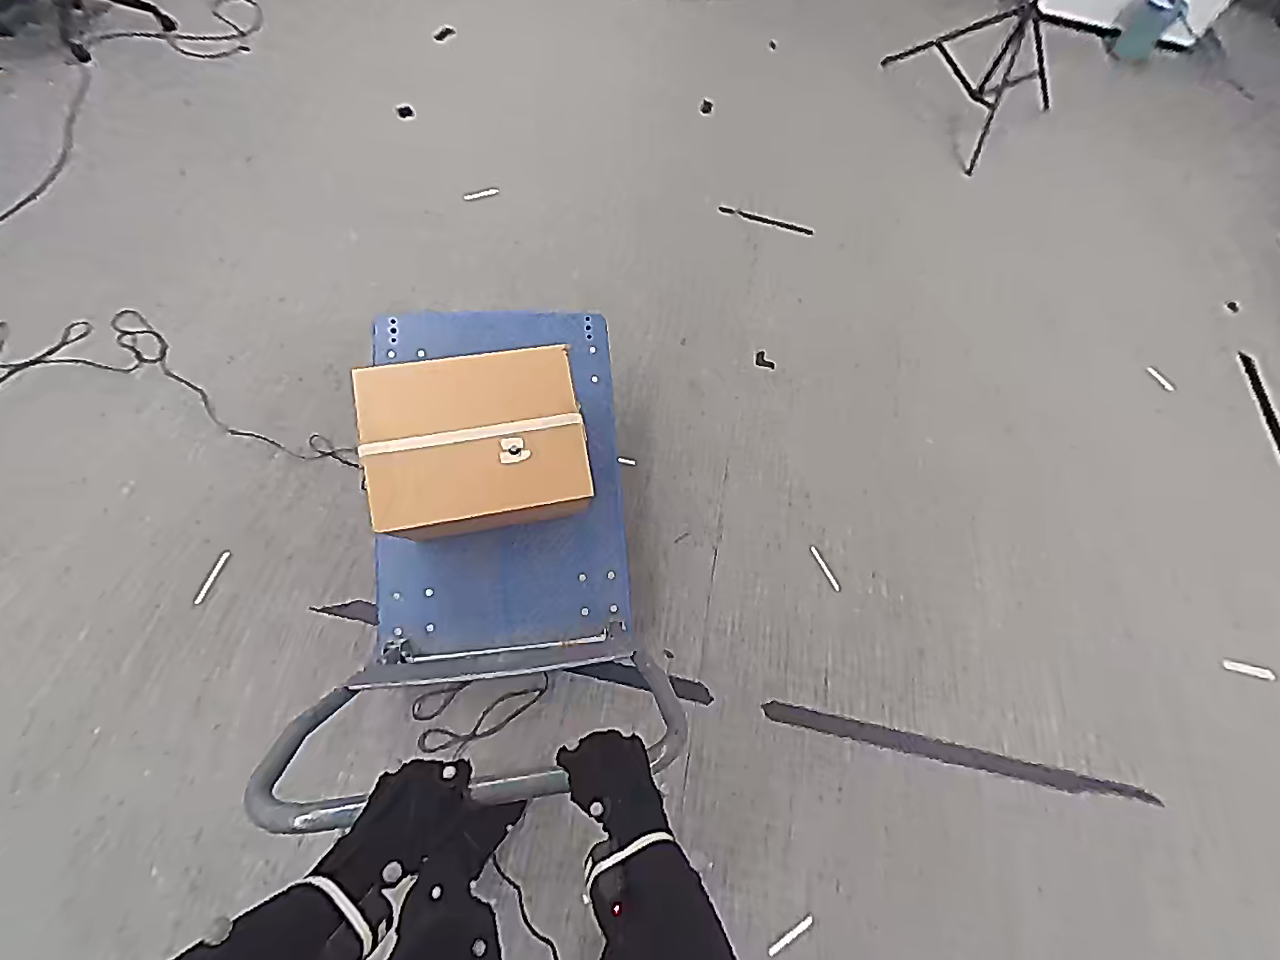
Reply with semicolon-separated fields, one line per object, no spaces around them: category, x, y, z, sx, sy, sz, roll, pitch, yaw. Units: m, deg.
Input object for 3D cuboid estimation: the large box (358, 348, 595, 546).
large box;-0.335;-0.056;1.177;0.408;0.320;0.320;-10;82;-12
